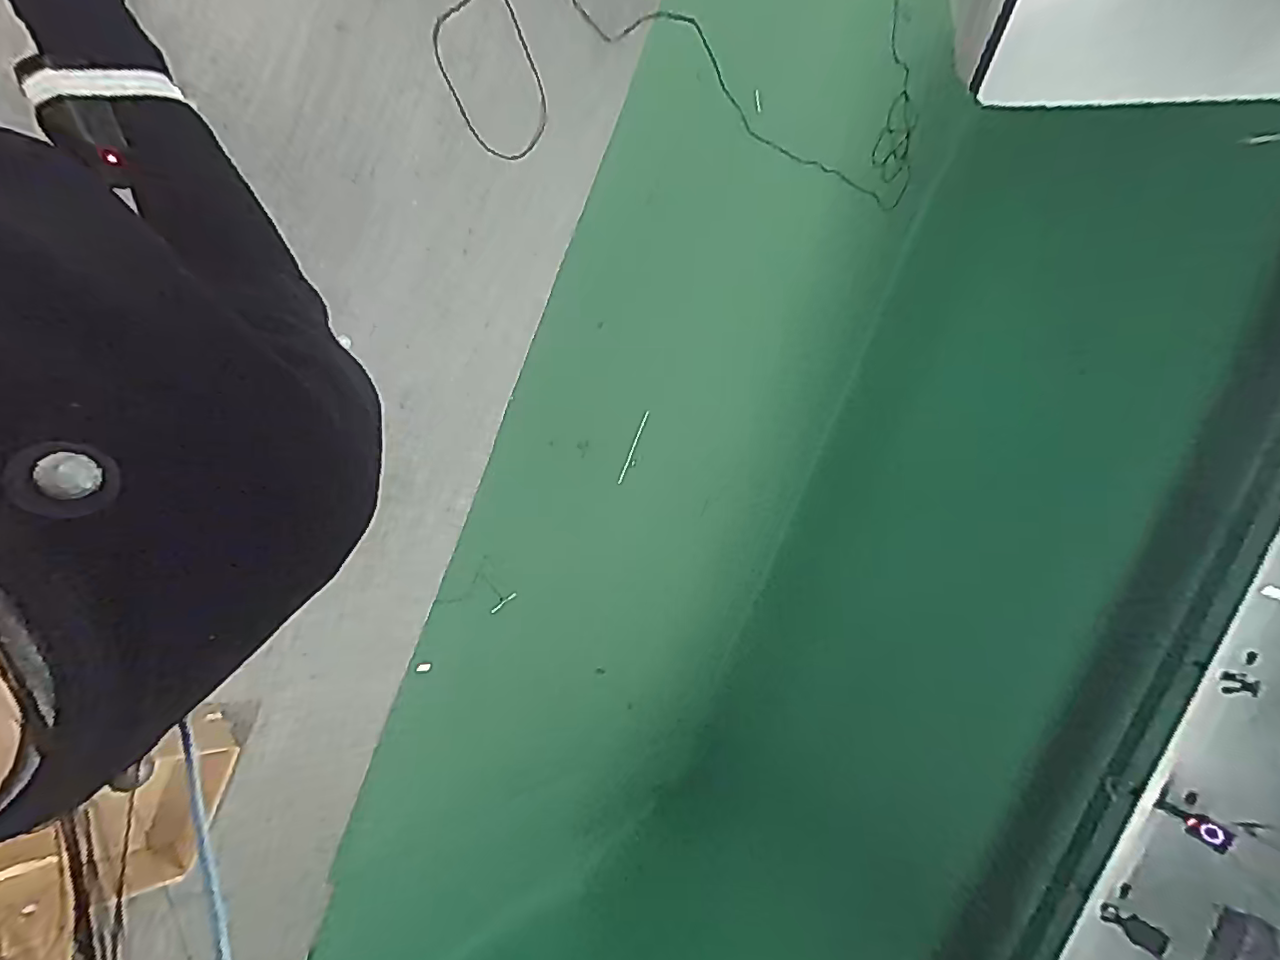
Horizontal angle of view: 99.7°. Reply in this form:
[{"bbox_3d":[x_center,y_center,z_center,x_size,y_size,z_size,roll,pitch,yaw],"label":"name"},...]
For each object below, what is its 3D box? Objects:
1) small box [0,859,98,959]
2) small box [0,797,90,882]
[{"bbox_3d":[-1.236,0.912,1.077,0.179,0.176,0.168,11,102,-57],"label":"small box"},{"bbox_3d":[-1.348,0.840,1.173,0.168,0.176,0.179,18,95,-58],"label":"small box"}]
